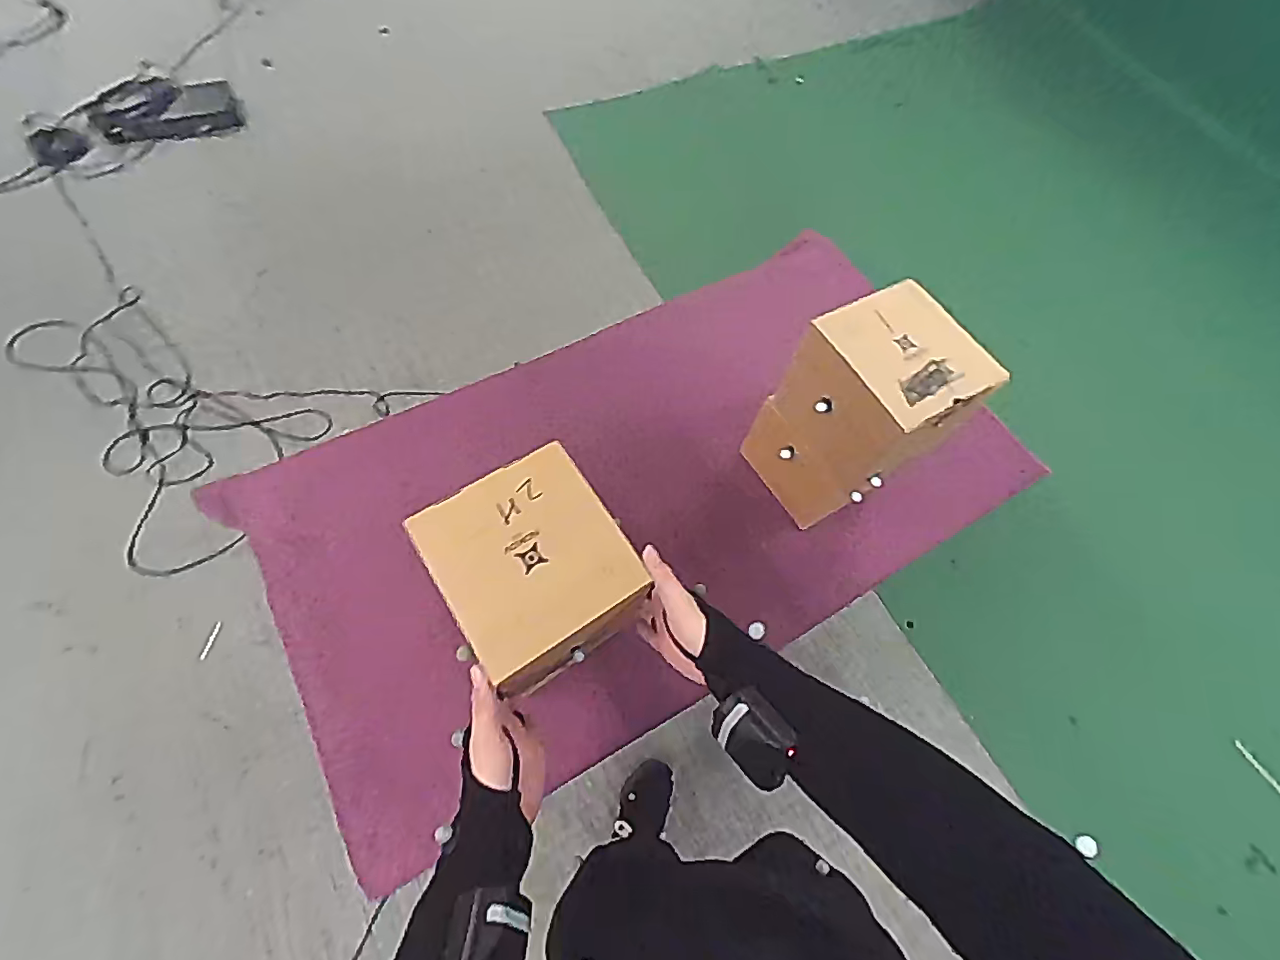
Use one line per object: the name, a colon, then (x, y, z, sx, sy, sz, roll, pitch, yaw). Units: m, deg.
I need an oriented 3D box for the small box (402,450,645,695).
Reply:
small box: (-0.114, 0.105, 0.569, 0.168, 0.176, 0.179, -30, 71, -18)

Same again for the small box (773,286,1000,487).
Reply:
small box: (0.303, -0.110, 0.705, 0.168, 0.176, 0.179, -25, 67, -15)

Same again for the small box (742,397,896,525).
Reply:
small box: (0.288, -0.047, 0.857, 0.168, 0.176, 0.179, -28, 69, -16)
